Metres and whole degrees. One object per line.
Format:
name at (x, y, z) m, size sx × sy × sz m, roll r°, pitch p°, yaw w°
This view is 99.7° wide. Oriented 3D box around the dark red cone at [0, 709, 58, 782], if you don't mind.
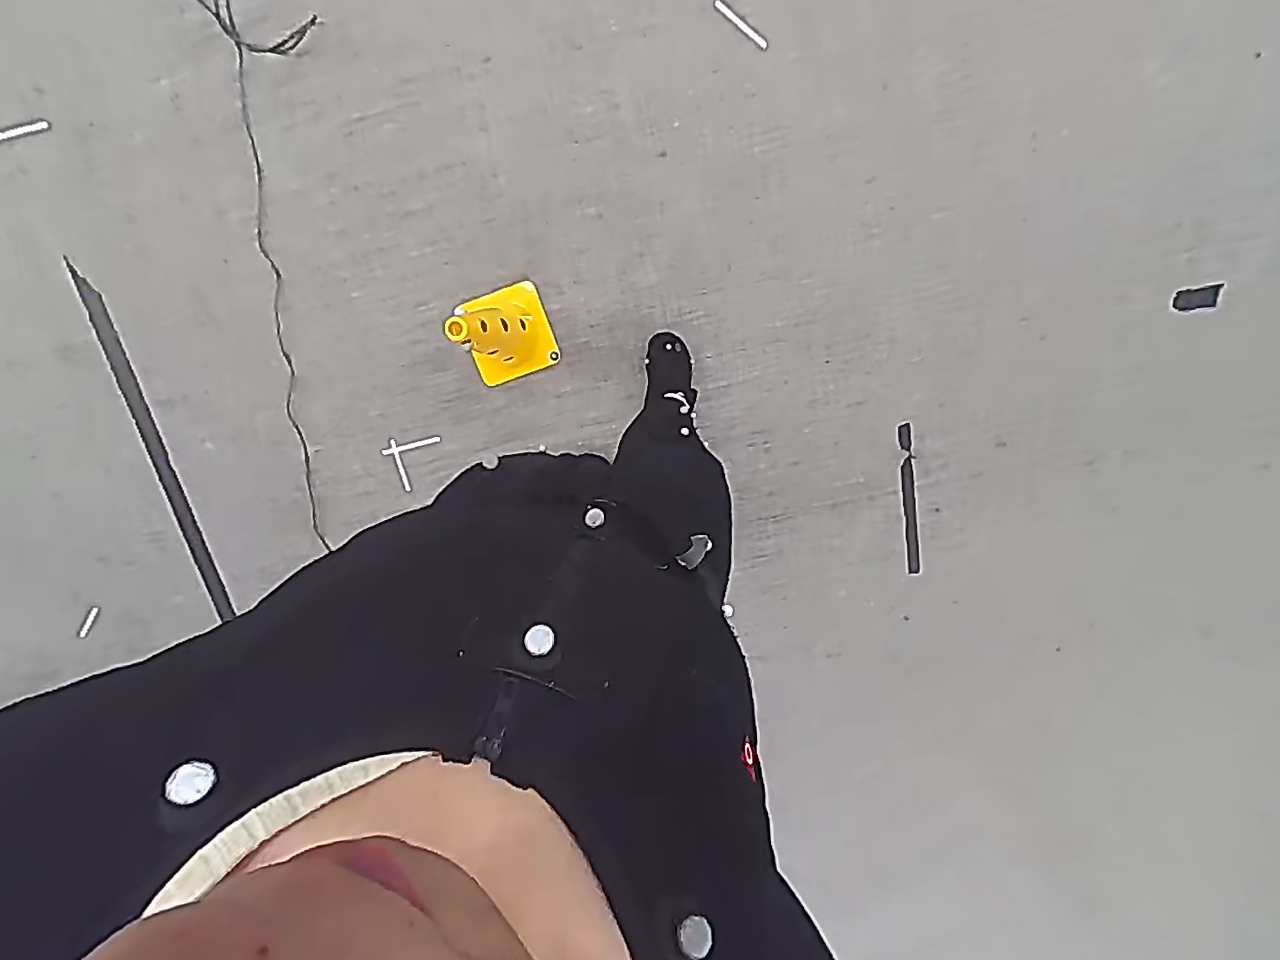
dark red cone at (-1.774, 0.787, 1.372) m, size 0.201 × 0.394 × 0.202 m, roll -19°, pitch 102°, yaw 4°
